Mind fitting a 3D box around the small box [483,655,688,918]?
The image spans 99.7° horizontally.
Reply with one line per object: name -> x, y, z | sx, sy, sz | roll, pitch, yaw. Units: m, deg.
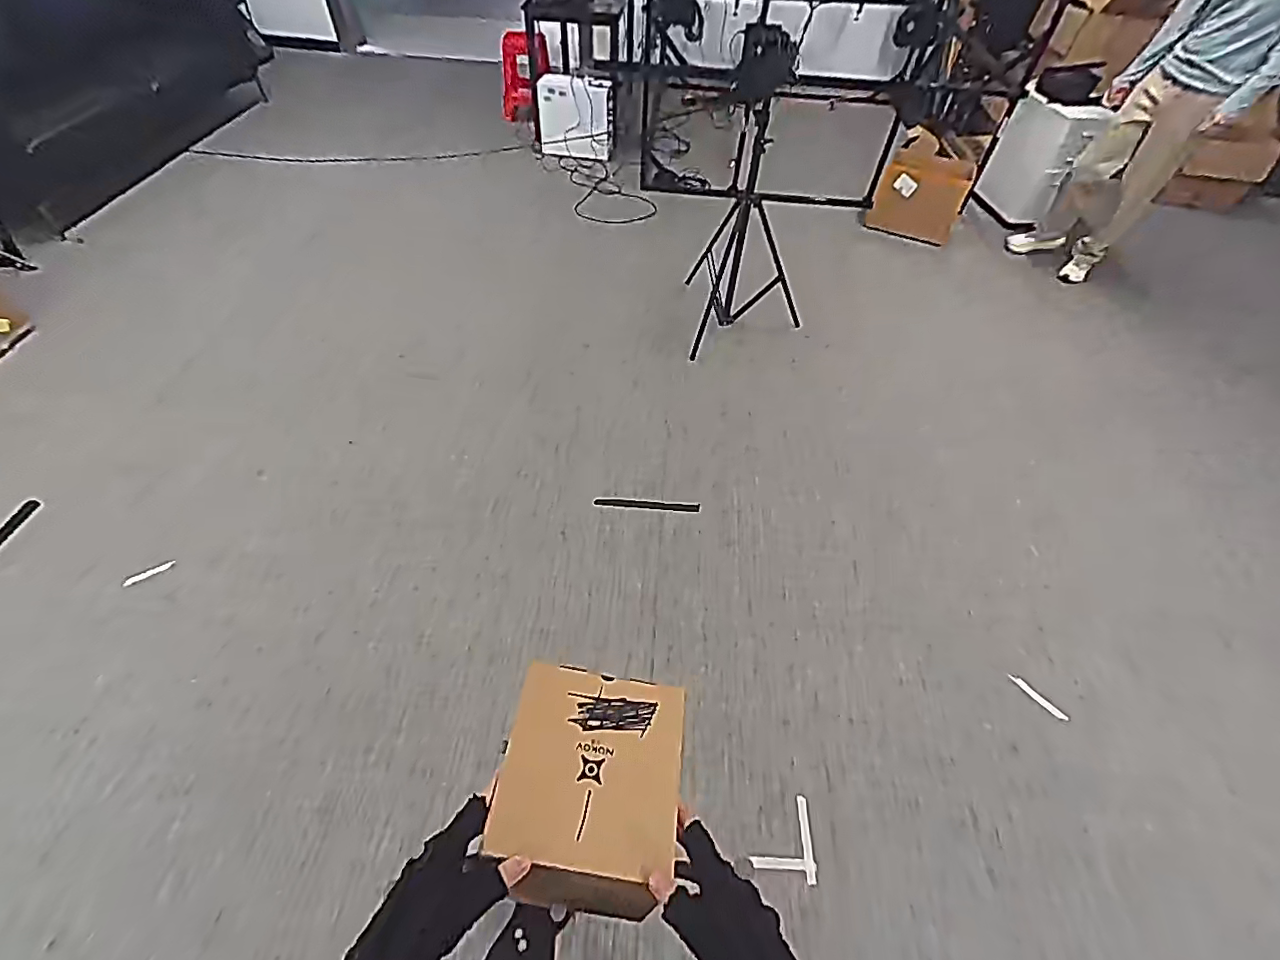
small box -> -0.052, 0.312, 0.554 | 0.168, 0.176, 0.179 | 11, 42, 0
